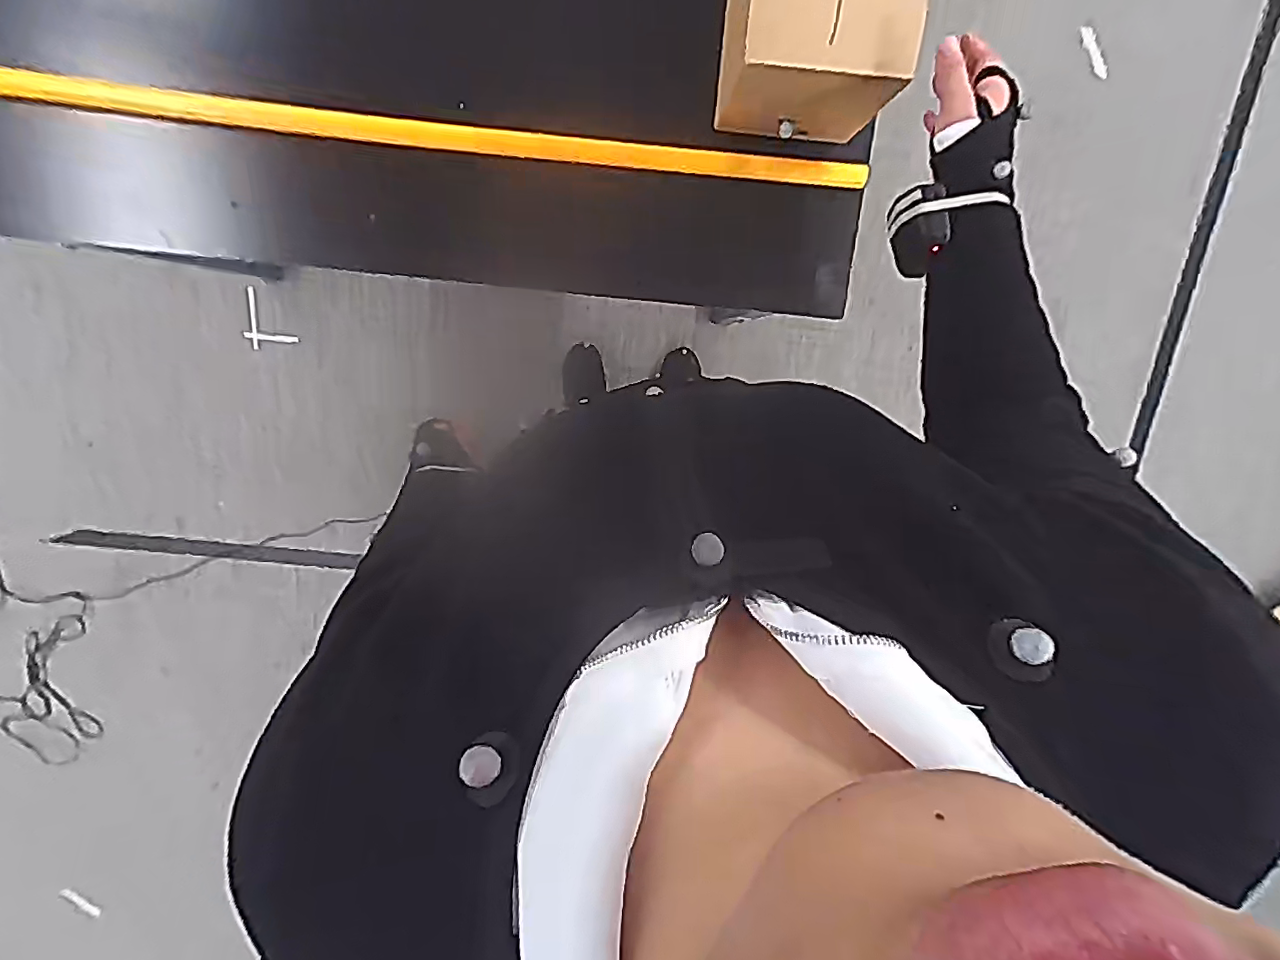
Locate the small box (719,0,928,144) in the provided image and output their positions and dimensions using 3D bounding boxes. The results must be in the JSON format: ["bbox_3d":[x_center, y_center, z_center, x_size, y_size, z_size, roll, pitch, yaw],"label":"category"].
[{"bbox_3d":[0.184,-0.489,0.570,0.168,0.176,0.179,4,104,-3],"label":"small box"}]
